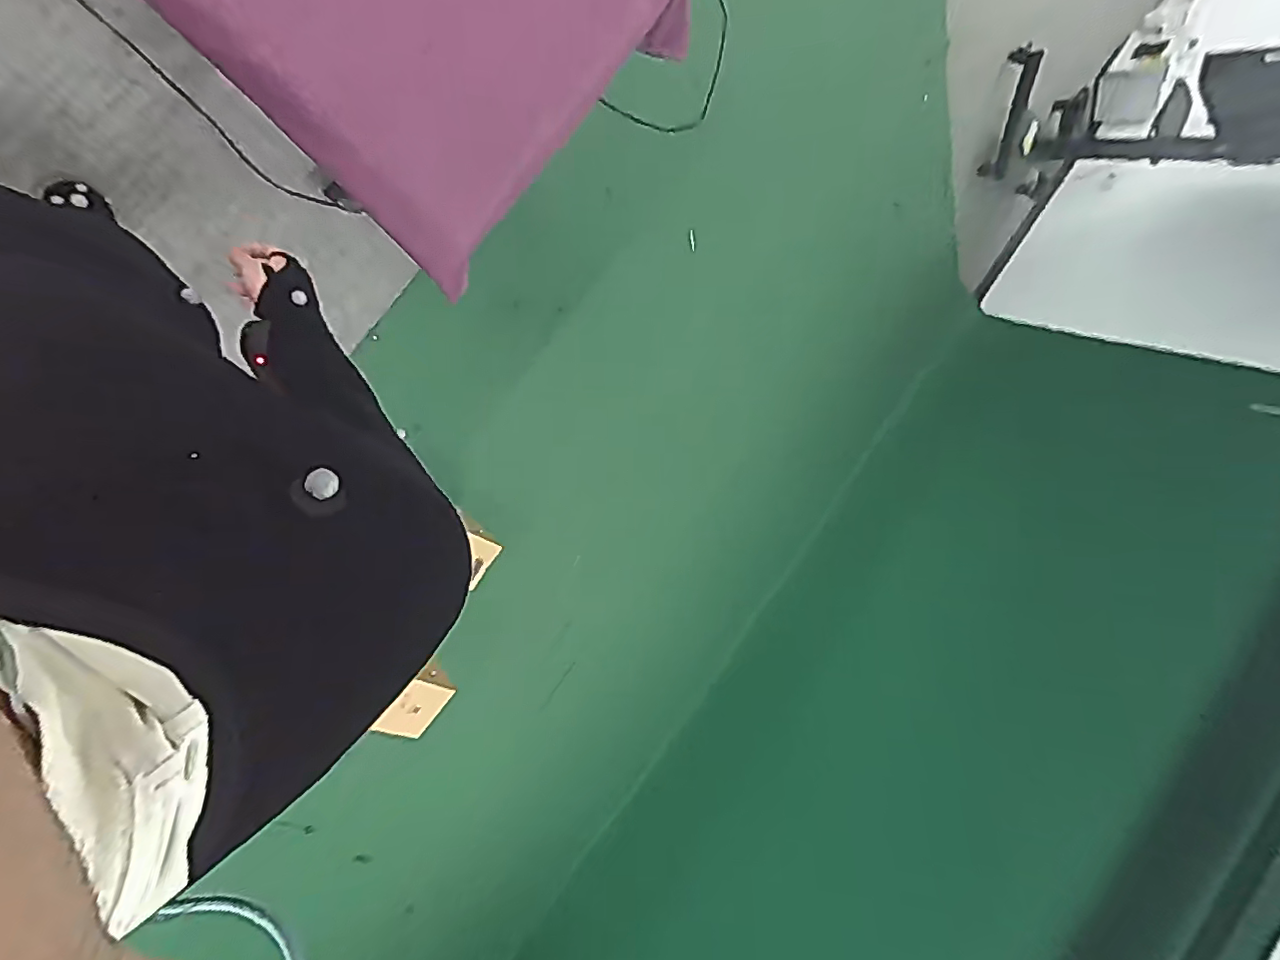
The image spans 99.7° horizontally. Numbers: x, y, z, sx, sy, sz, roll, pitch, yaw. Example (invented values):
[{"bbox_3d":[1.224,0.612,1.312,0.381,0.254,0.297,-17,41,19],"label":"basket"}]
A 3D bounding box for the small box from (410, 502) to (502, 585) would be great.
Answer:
[{"bbox_3d":[-0.566,0.191,1.662,0.168,0.176,0.179,-55,139,-3],"label":"small box"}]

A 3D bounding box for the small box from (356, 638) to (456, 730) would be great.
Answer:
[{"bbox_3d":[-0.671,0.579,1.547,0.168,0.176,0.179,-51,138,-7],"label":"small box"}]

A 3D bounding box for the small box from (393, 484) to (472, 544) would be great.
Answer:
[{"bbox_3d":[-0.672,0.135,1.774,0.168,0.176,0.179,-53,140,-5],"label":"small box"}]
